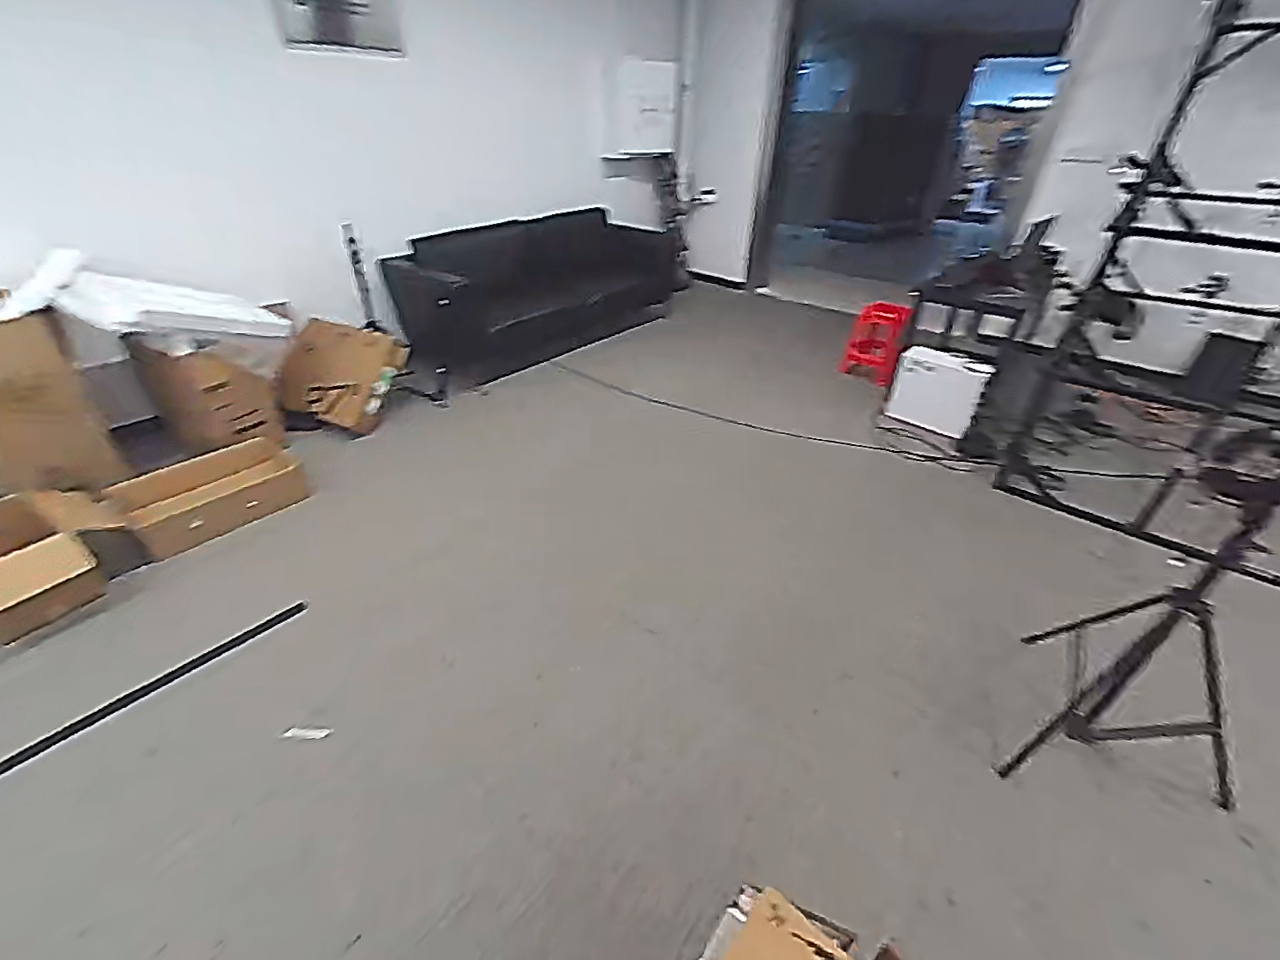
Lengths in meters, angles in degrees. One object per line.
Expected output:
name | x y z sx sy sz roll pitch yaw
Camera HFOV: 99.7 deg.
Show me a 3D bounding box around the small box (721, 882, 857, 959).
small box | 0.187 0.693 0.703 0.168 0.176 0.179 27 44 35
